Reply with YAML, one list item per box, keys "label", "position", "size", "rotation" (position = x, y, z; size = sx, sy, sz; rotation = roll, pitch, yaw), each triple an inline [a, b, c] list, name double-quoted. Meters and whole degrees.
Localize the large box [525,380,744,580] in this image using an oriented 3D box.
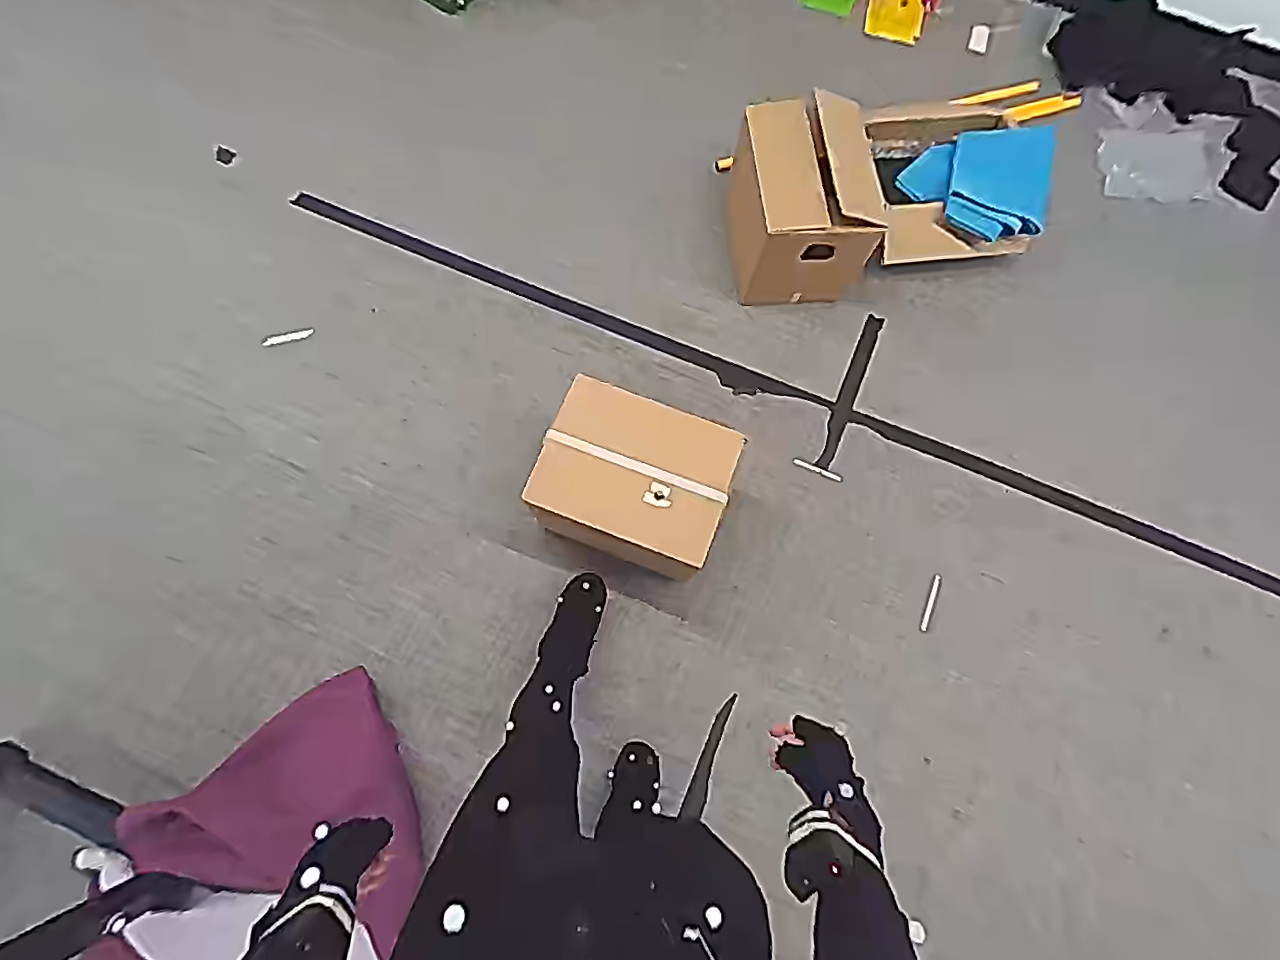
- label: "large box"
  position: [-0.016, 0.017, 1.296]
  size: [0.408, 0.320, 0.320]
  rotation: [20, 74, 3]
